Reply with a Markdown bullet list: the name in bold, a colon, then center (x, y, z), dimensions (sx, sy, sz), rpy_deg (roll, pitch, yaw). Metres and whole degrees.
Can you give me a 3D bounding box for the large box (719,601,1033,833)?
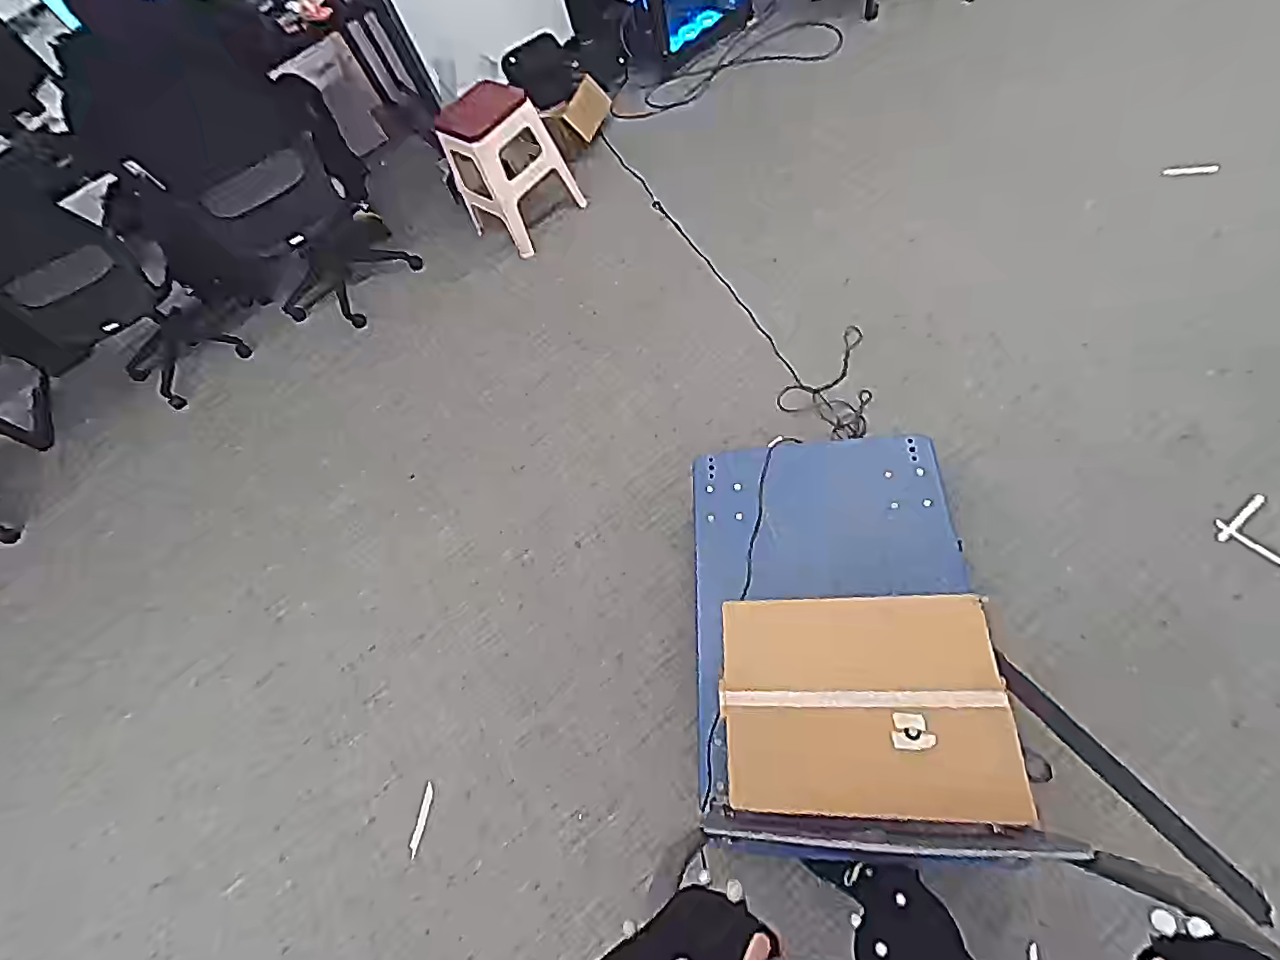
- **large box**: center (0.357, 0.408, 0.940), dimensions (0.408, 0.320, 0.320), rpy_deg (-5, 63, 12)
